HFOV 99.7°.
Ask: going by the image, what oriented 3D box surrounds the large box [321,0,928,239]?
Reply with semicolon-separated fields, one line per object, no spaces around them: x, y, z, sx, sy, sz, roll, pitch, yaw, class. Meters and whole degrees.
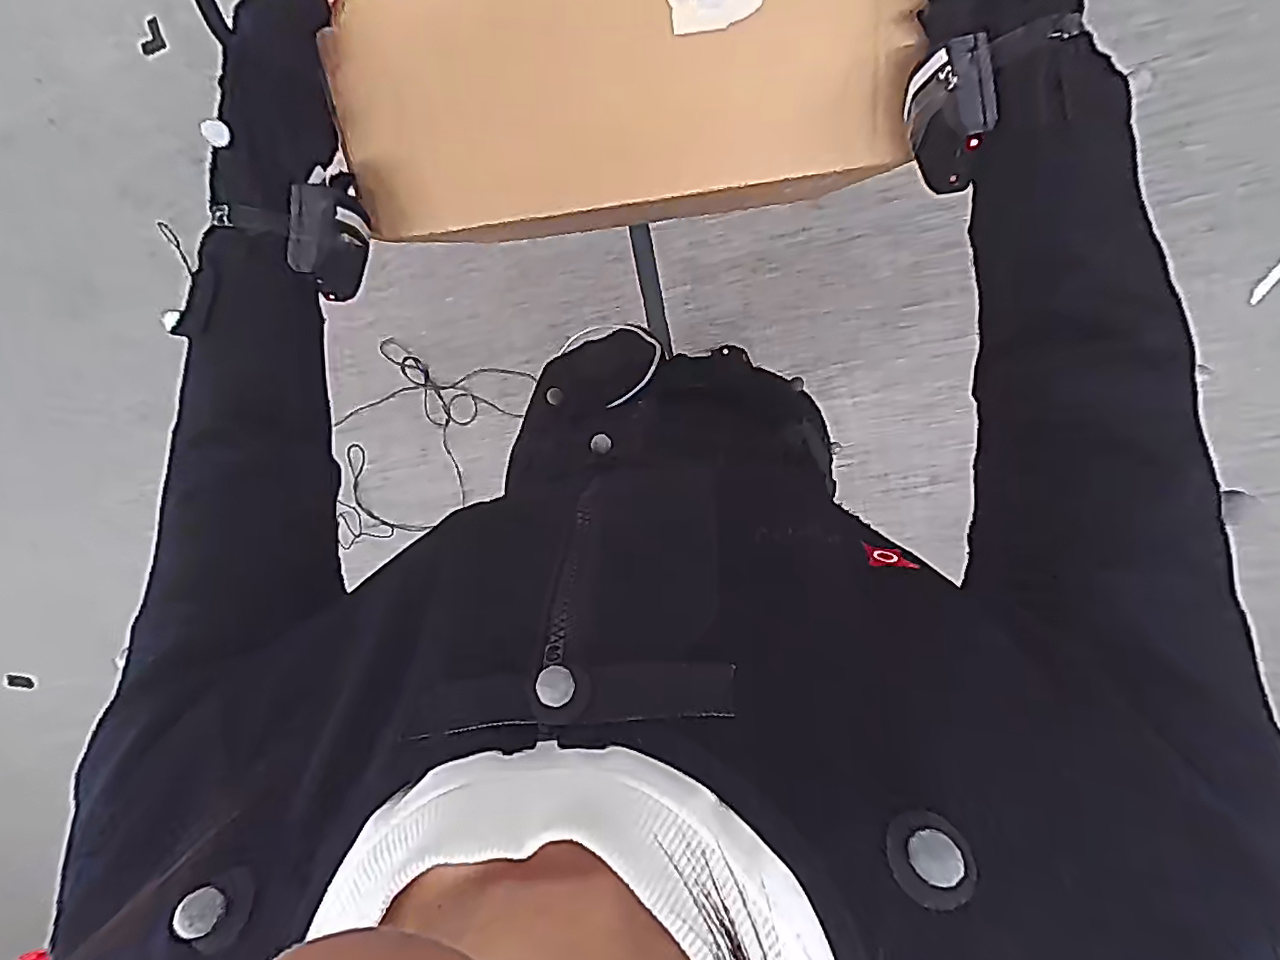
-0.014;-0.411;0.476;0.408;0.320;0.320;-6;113;6;large box
